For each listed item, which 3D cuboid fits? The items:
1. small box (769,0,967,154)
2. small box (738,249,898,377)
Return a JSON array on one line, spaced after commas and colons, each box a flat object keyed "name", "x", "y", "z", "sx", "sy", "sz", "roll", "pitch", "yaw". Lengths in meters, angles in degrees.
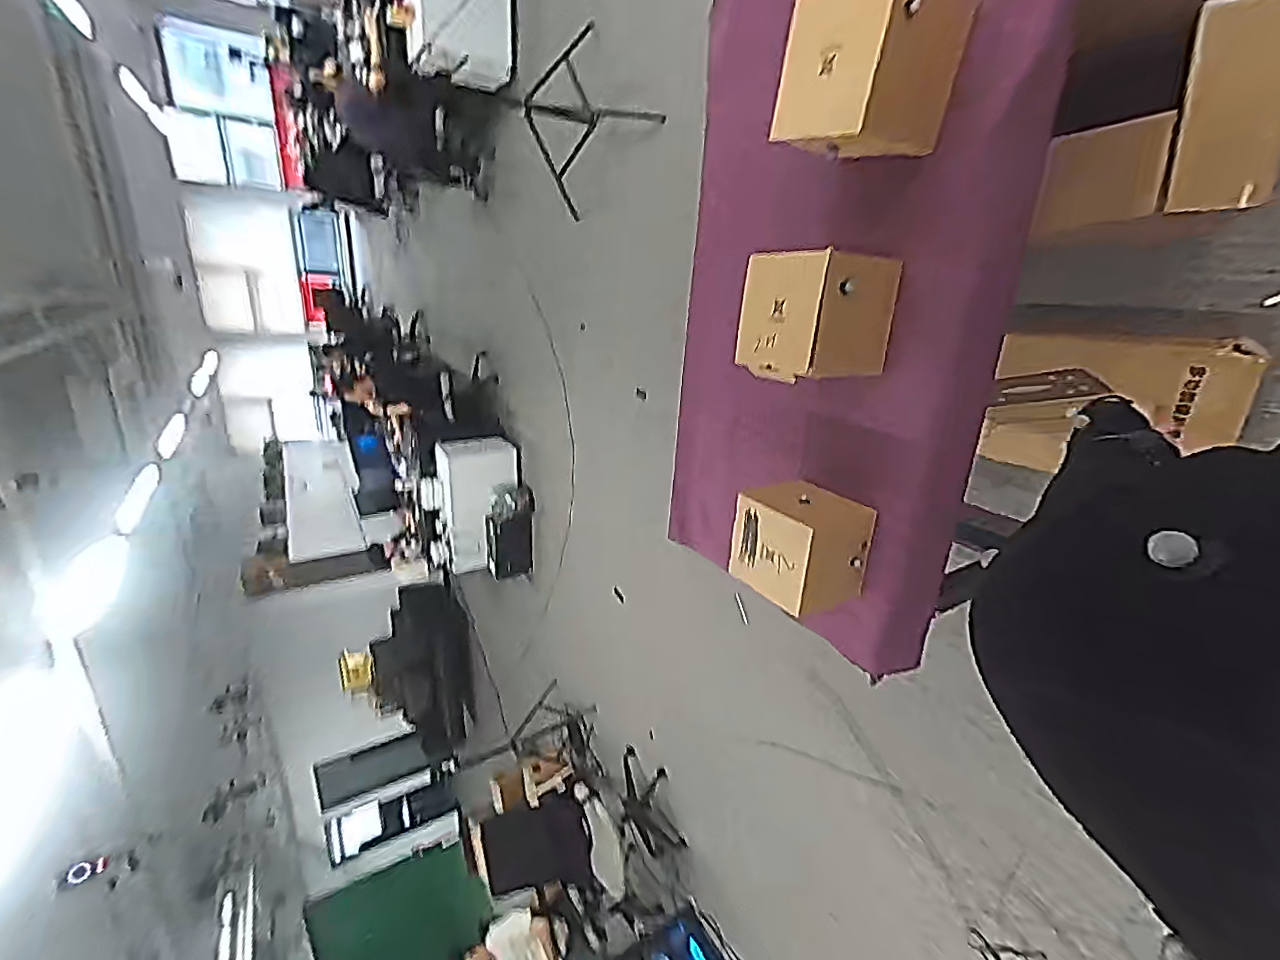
[{"name": "small box", "x": 0.310, "y": -0.560, "z": 0.745, "sx": 0.168, "sy": 0.176, "sz": 0.179, "roll": 38, "pitch": 129, "yaw": 48}, {"name": "small box", "x": 0.283, "y": -0.266, "z": 0.866, "sx": 0.168, "sy": 0.176, "sz": 0.179, "roll": 31, "pitch": 124, "yaw": 54}]
